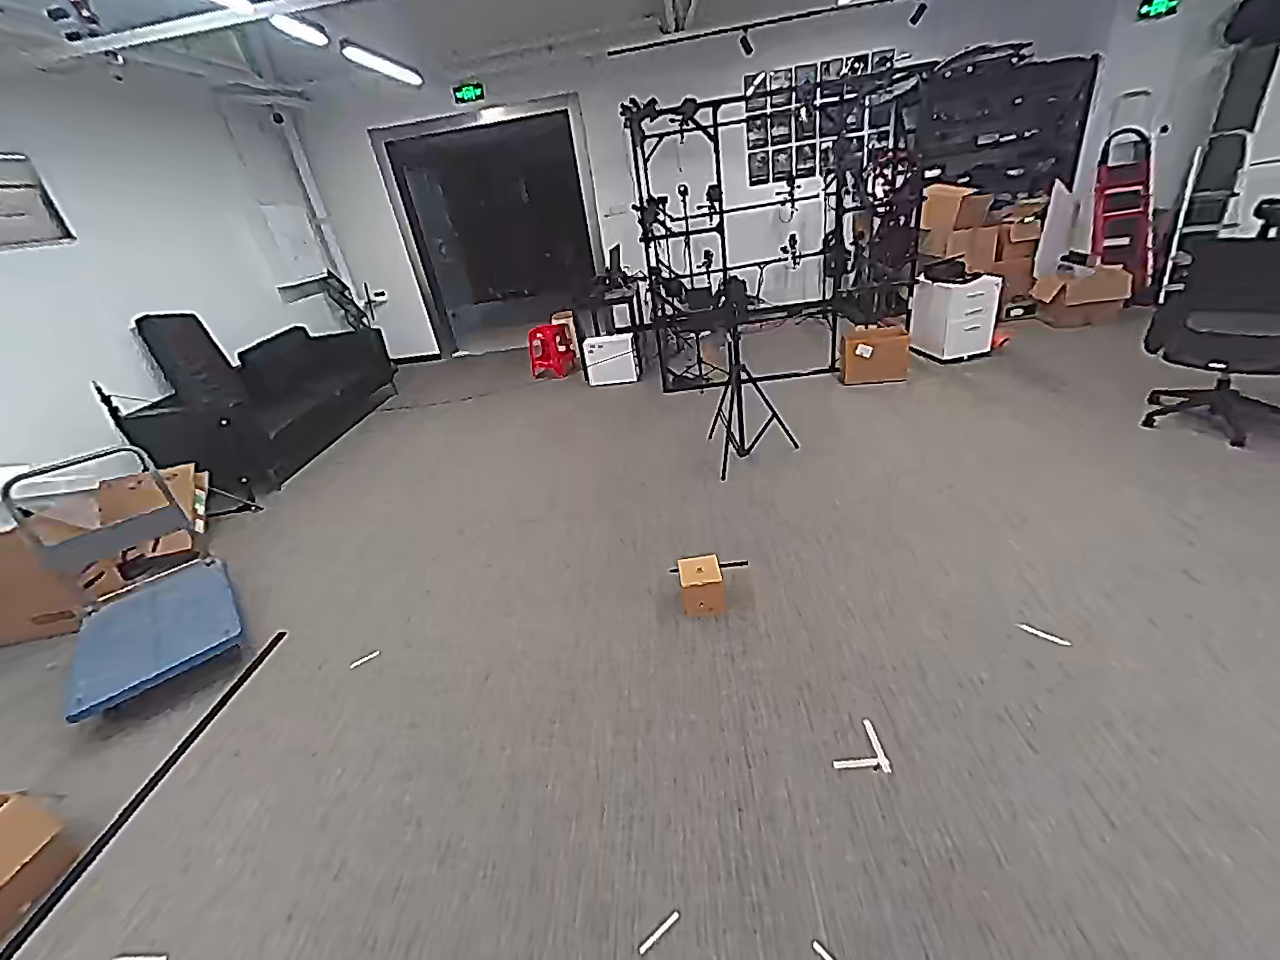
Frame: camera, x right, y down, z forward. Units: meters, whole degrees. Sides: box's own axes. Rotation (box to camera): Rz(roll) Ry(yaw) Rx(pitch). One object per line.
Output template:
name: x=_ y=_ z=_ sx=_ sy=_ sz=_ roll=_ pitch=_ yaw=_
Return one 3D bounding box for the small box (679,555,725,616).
small box: x=0.256 y=0.441 z=2.255 sx=0.168 sy=0.176 sz=0.179 roll=-9 pitch=28 yaw=1
